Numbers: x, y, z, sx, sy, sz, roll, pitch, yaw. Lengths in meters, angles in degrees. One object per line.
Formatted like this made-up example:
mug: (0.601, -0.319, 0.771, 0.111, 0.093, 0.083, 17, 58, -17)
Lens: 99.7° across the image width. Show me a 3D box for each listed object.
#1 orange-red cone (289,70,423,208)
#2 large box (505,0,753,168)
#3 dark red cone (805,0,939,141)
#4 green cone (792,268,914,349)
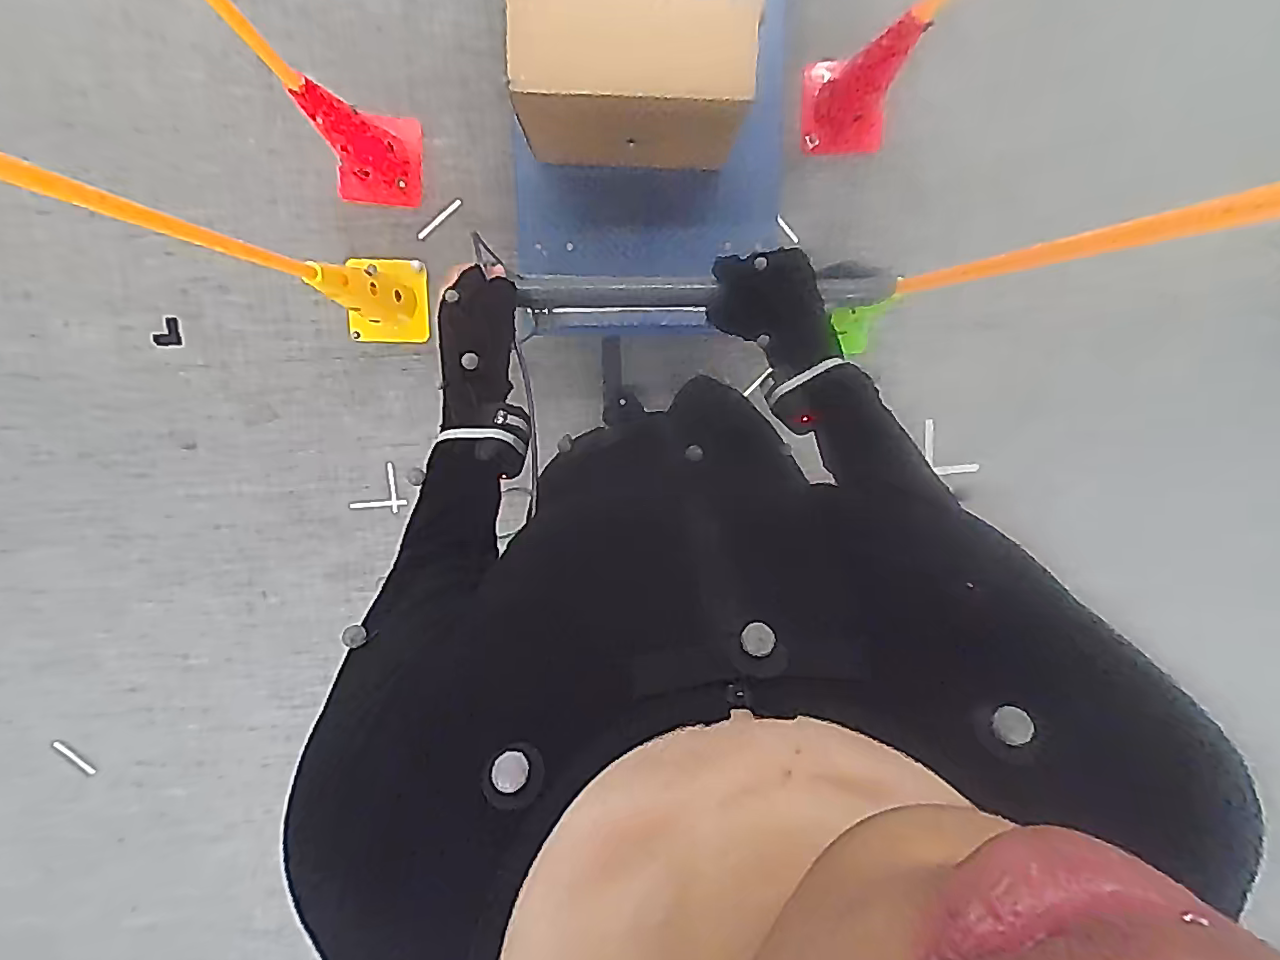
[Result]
orange-red cone: (-0.624, -0.750, 1.147, 0.198, 0.360, 0.199, 4, 98, -3)
large box: (-0.017, -0.800, 1.006, 0.408, 0.320, 0.320, 1, 101, -1)
dark red cone: (0.502, -0.888, 1.130, 0.201, 0.394, 0.202, -3, 100, -3)
green cone: (0.503, -0.413, 1.230, 0.202, 0.368, 0.200, 1, 100, -3)
